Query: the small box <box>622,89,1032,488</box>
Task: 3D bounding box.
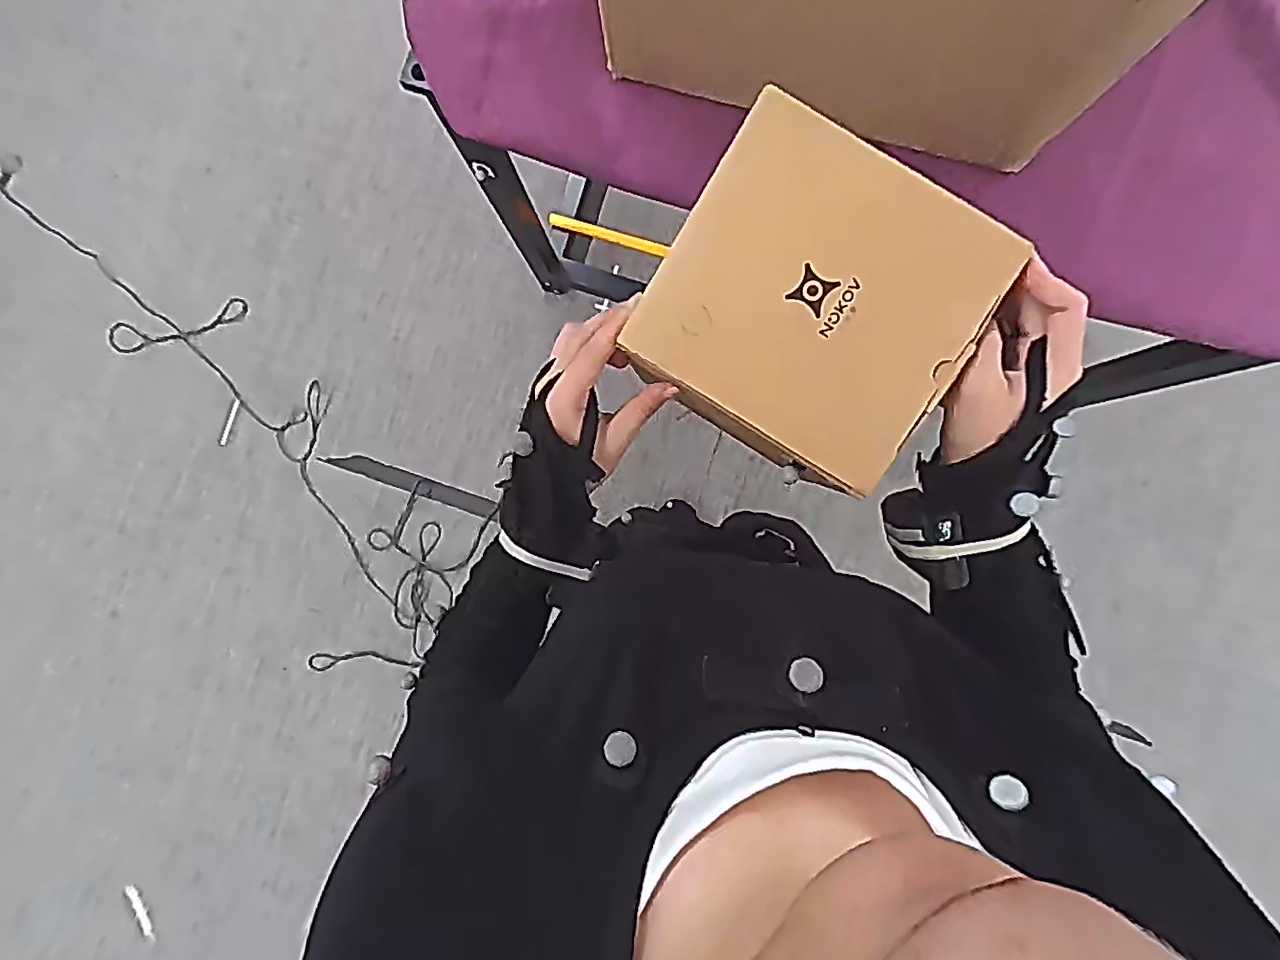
[{"bbox_3d":[0.107,-0.111,0.385,0.179,0.176,0.168,32,96,0],"label":"small box"}]
